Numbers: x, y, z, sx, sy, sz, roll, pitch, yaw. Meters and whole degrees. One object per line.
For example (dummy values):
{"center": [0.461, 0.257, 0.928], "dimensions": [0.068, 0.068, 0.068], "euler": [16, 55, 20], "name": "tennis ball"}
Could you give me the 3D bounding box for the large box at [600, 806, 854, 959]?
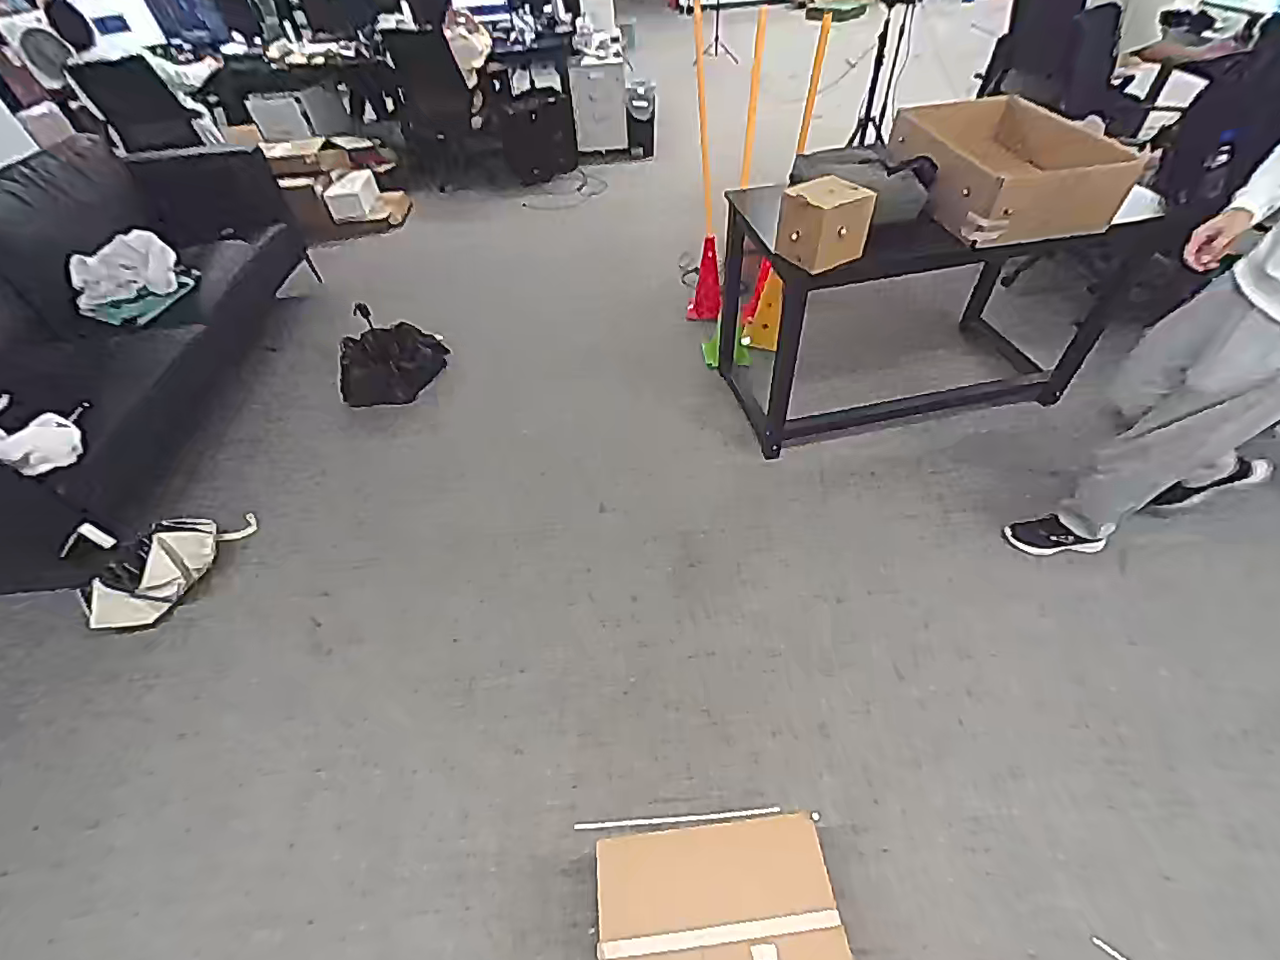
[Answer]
{"center": [0.149, 0.847, 1.015], "dimensions": [0.408, 0.320, 0.320], "euler": [-7, 49, -1], "name": "large box"}
